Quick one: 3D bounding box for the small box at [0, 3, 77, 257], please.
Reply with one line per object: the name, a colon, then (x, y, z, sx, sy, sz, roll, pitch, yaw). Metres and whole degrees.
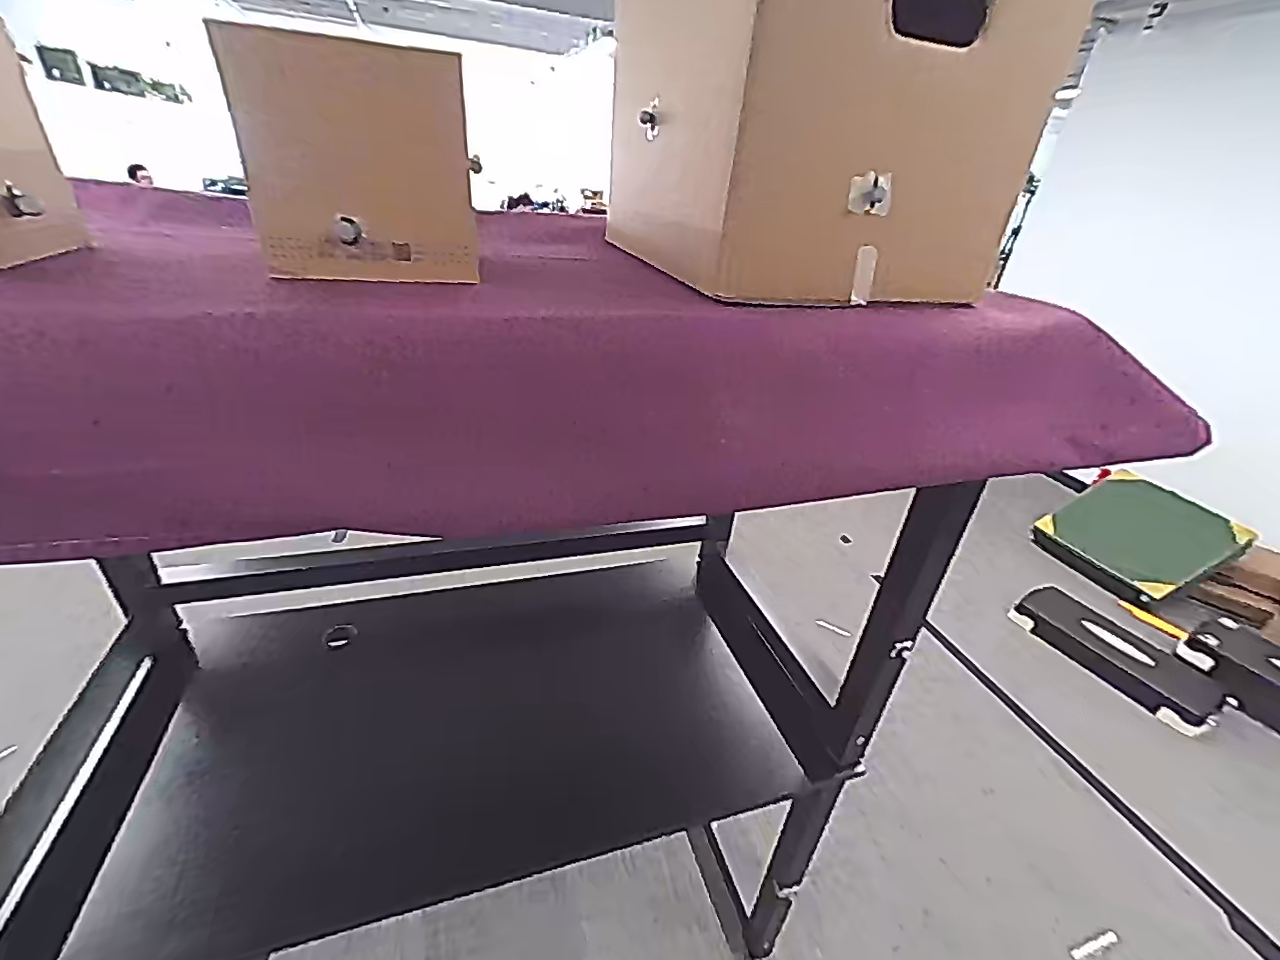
small box: (-0.535, -0.242, 0.355, 0.168, 0.176, 0.179, -6, 31, -19)

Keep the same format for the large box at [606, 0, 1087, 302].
large box: (0.161, -0.395, 0.602, 0.320, 0.320, 0.408, -4, 30, -18)

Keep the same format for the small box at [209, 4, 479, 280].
small box: (-0.236, -0.285, 0.484, 0.168, 0.176, 0.179, -5, 32, -16)
